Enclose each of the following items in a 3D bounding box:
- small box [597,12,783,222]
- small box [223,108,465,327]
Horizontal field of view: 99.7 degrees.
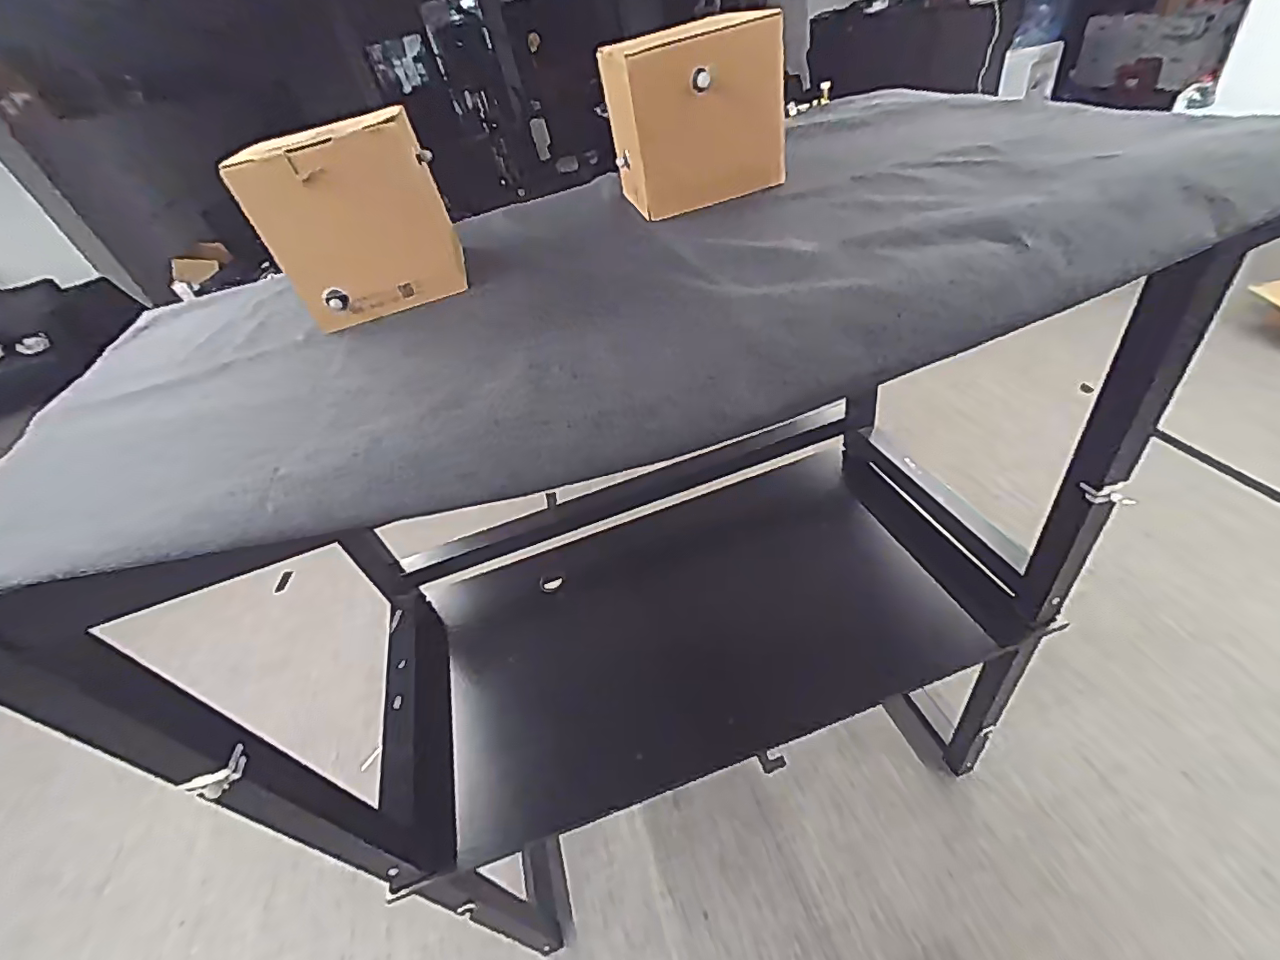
[{"bbox_3d":[0.062,-0.444,0.665,0.179,0.176,0.168,-18,41,-2],"label":"small box"},{"bbox_3d":[-0.309,-0.292,0.610,0.168,0.176,0.179,-20,40,-5],"label":"small box"}]
